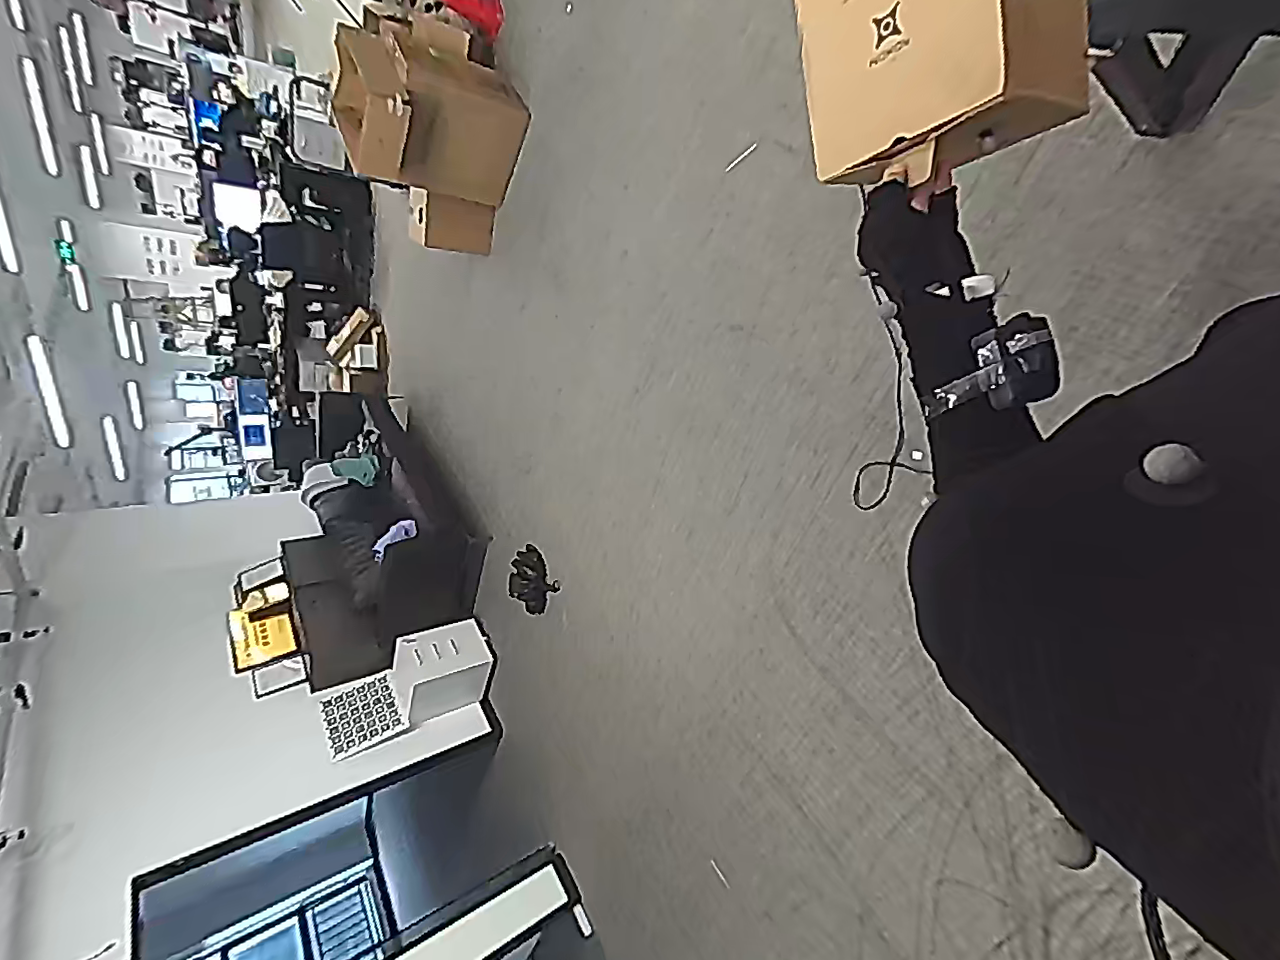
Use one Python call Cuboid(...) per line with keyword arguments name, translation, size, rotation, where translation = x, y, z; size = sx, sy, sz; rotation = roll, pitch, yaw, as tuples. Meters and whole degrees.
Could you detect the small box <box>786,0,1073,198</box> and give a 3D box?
Cuboid(name="small box", translation=(0.261, -0.376, 0.486), size=(0.168, 0.176, 0.179), rotation=(4, 109, 55))
